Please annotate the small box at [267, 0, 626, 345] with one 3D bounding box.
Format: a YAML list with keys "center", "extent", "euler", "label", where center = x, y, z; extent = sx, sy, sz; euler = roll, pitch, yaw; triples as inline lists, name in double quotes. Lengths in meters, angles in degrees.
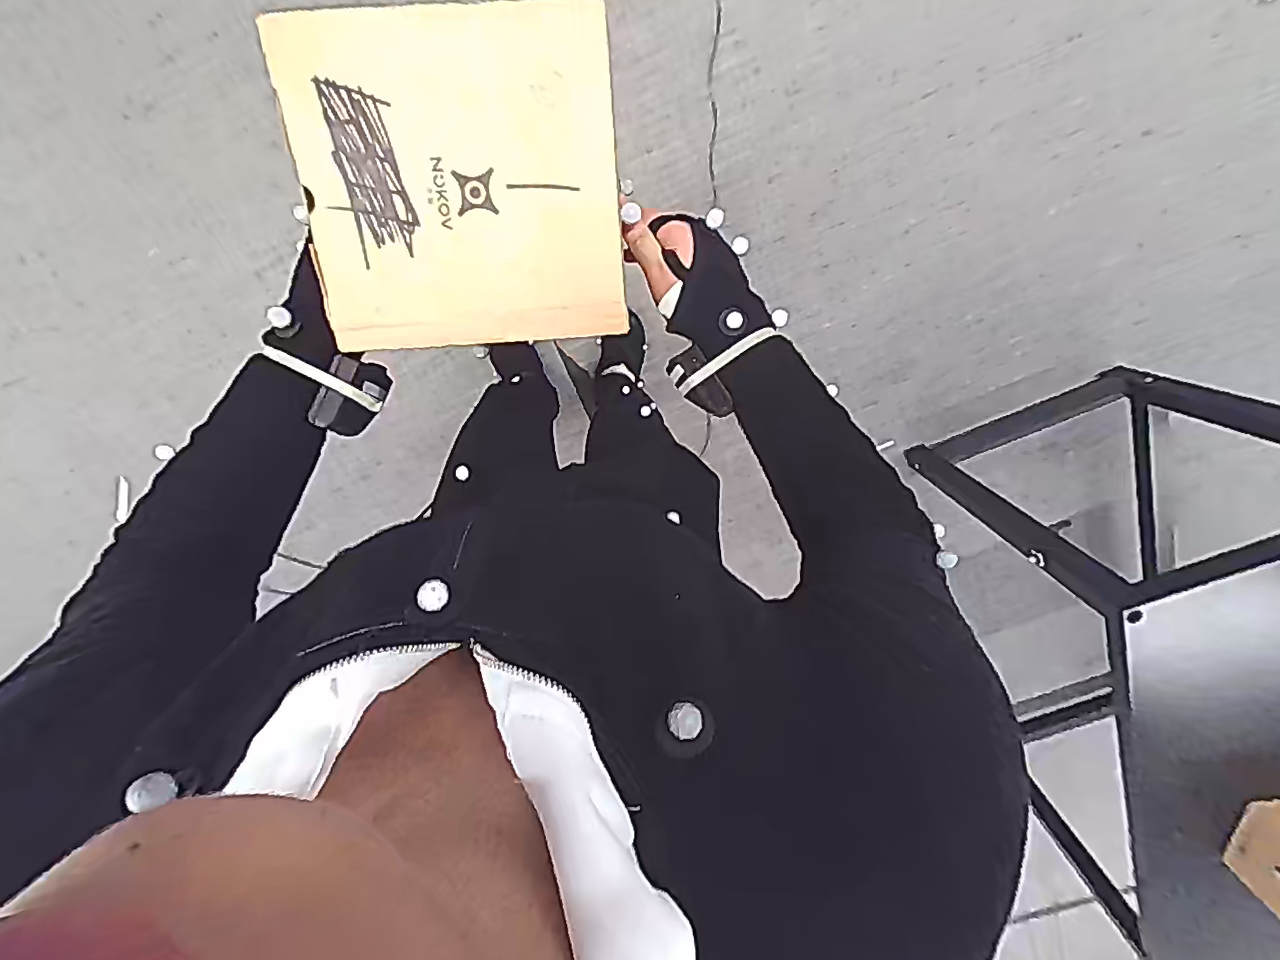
- center: [-0.100, -0.189, 0.373]
  extent: [0.179, 0.176, 0.168]
  euler: [-4, 112, -1]
  label: "small box"

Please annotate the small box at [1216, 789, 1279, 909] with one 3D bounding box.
- center: [1.213, 0.679, 0.965]
  extent: [0.179, 0.176, 0.168]
  euler: [-6, 113, 0]
  label: "small box"
